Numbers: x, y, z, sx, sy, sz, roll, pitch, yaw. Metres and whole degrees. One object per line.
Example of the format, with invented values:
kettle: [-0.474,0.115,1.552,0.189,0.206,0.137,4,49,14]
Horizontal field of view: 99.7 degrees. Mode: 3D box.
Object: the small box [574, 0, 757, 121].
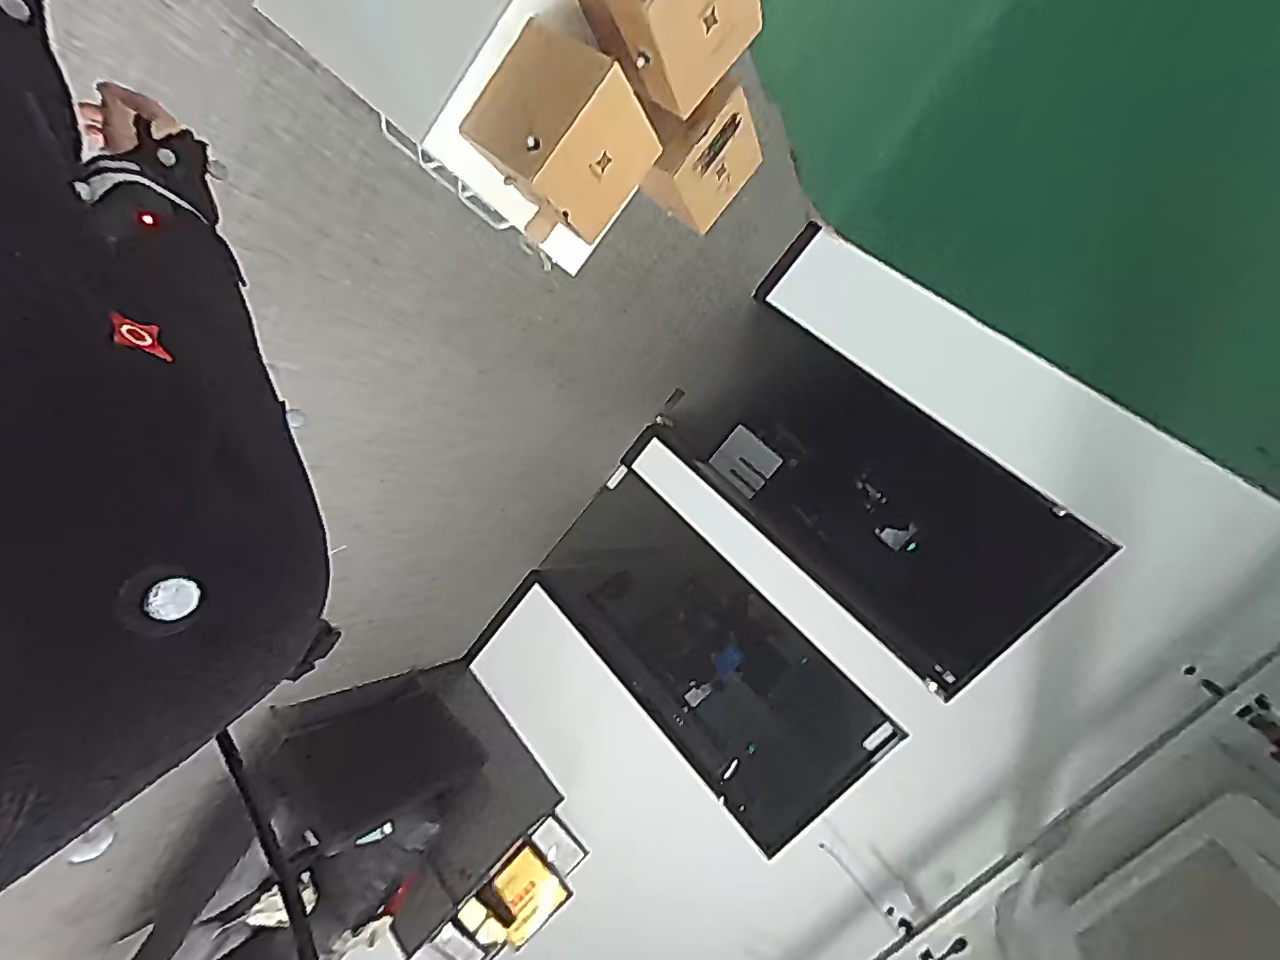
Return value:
small box: [0.030,-0.643,0.725,0.168,0.176,0.179,-47,160,8]
